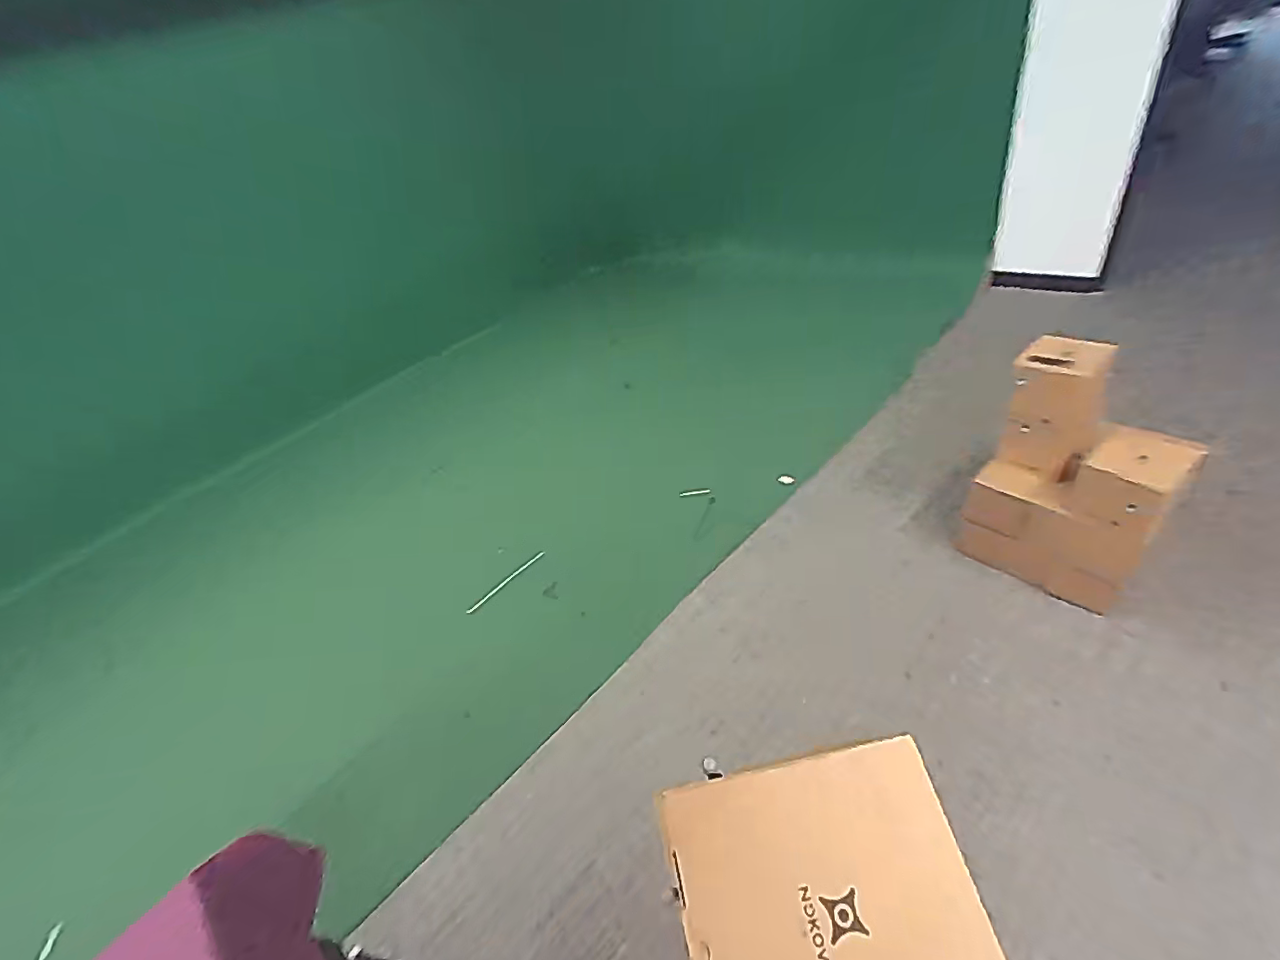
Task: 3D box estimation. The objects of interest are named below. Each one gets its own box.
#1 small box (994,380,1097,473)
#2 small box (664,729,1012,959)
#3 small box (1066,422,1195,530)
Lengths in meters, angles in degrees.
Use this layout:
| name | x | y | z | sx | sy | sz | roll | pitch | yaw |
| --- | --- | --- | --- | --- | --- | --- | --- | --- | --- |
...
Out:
| name | x | y | z | sx | sy | sz | roll | pitch | yaw |
| --- | --- | --- | --- | --- | --- | --- | --- | --- | --- |
| small box | 1.130 | -0.151 | 1.521 | 0.179 | 0.176 | 0.168 | -33 | 40 | -21 |
| small box | 0.119 | 0.287 | 0.389 | 0.179 | 0.176 | 0.168 | -11 | 62 | -4 |
| small box | 1.190 | -0.008 | 1.327 | 0.179 | 0.176 | 0.168 | -33 | 43 | -20 |
